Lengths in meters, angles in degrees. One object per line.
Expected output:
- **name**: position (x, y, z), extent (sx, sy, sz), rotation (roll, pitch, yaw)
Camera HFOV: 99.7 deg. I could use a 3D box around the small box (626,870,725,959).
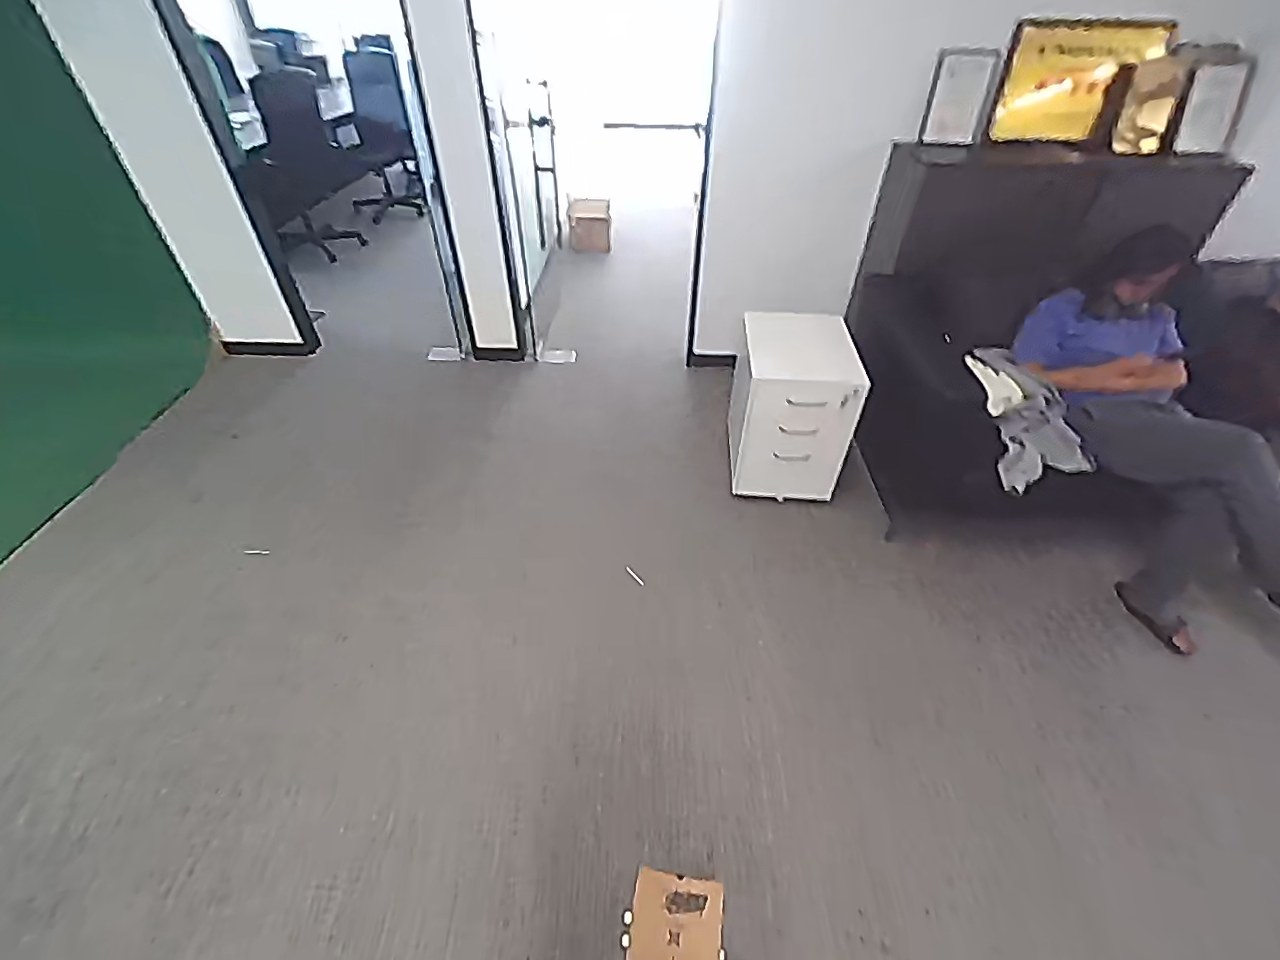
- **small box**: position (0.062, 0.875, 1.016), extent (0.168, 0.176, 0.179), rotation (8, 42, 7)
